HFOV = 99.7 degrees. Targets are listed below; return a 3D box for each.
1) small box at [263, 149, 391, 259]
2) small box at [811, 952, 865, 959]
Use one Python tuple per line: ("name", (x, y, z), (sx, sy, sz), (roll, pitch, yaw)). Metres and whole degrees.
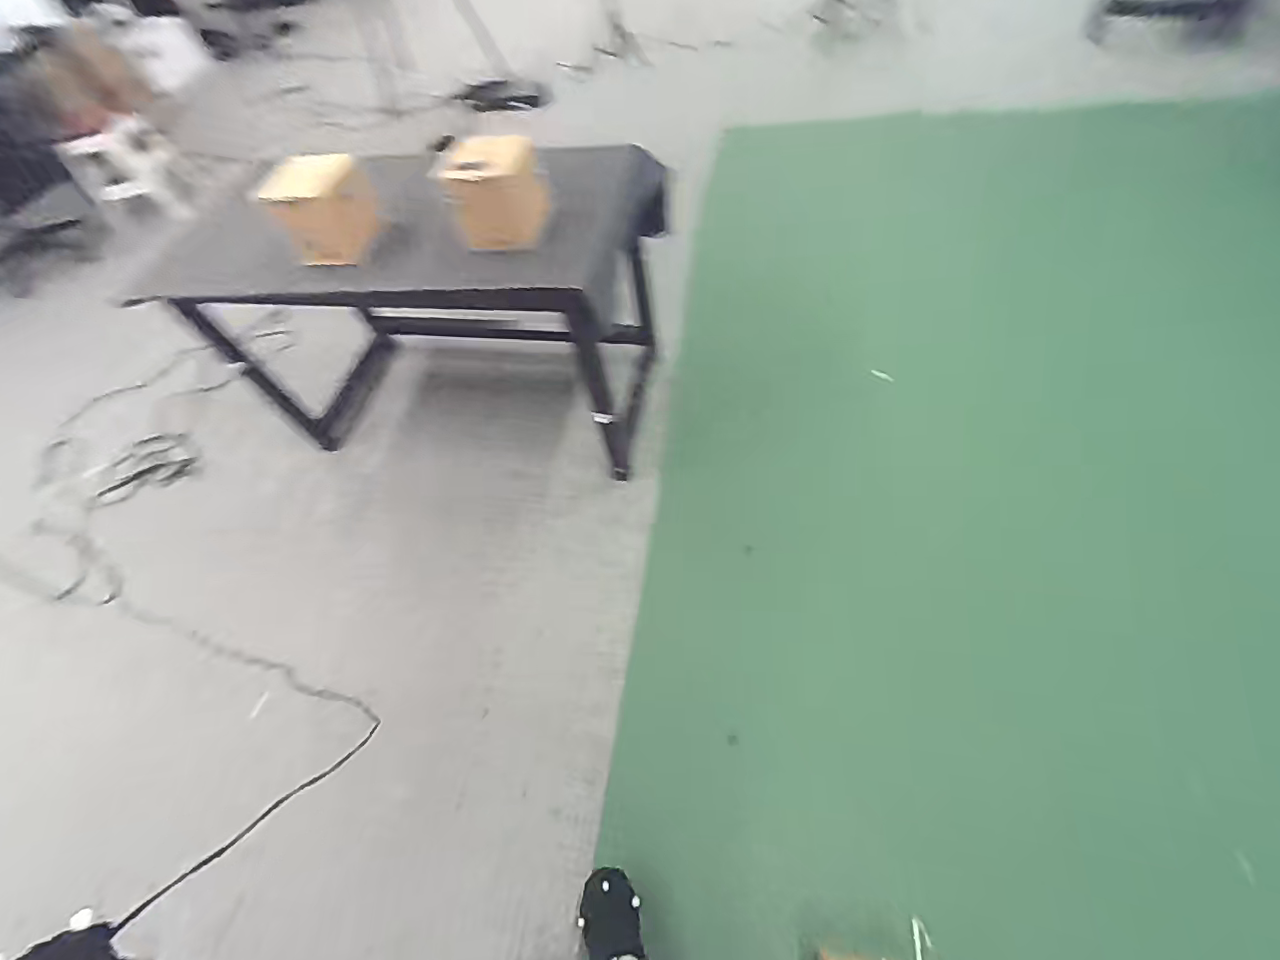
("small box", (-0.717, -0.646, 1.268), (0.168, 0.176, 0.179), (5, 58, 11))
("small box", (0.399, 0.943, 0.929), (0.179, 0.176, 0.168), (2, 57, 10))
